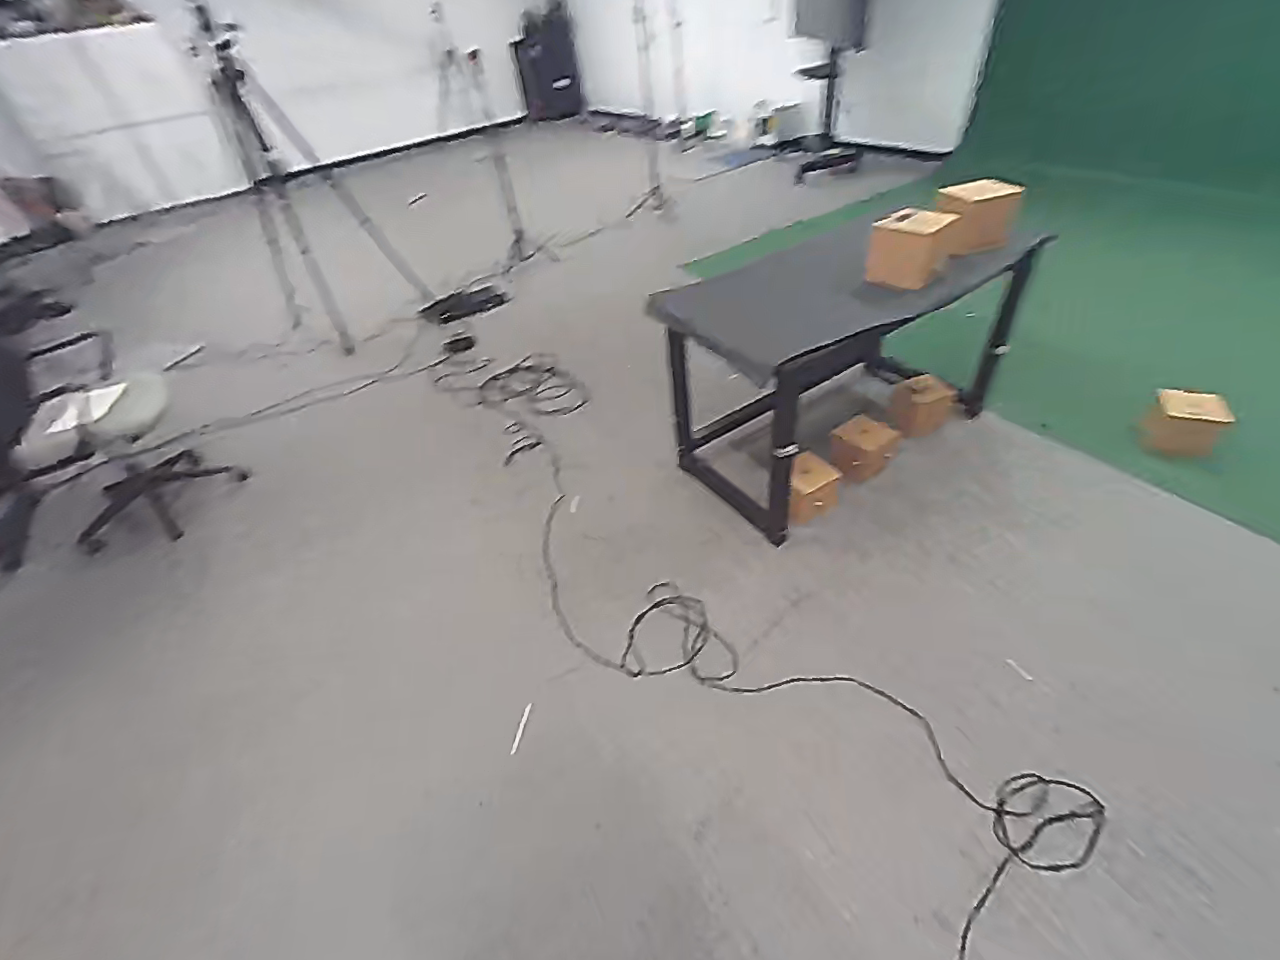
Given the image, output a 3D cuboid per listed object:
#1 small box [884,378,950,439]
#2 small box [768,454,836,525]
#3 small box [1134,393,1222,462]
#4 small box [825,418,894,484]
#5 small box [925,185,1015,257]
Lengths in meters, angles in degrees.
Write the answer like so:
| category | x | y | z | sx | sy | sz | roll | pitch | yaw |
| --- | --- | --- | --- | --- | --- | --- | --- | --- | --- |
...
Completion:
| category | x | y | z | sx | sy | sz | roll | pitch | yaw |
| --- | --- | --- | --- | --- | --- | --- | --- | --- | --- |
| small box | 1.144 | -0.295 | 2.251 | 0.179 | 0.176 | 0.168 | -18 | 43 | -12 |
| small box | 0.588 | 0.043 | 1.976 | 0.168 | 0.176 | 0.179 | -25 | 44 | -17 |
| small box | 1.981 | -0.195 | 2.004 | 0.168 | 0.176 | 0.179 | 12 | 45 | 22 |
| small box | 0.844 | -0.106 | 2.094 | 0.168 | 0.176 | 0.179 | -30 | 45 | -22 |
| small box | 1.072 | -0.843 | 1.771 | 0.168 | 0.176 | 0.179 | -13 | 40 | -5 |
